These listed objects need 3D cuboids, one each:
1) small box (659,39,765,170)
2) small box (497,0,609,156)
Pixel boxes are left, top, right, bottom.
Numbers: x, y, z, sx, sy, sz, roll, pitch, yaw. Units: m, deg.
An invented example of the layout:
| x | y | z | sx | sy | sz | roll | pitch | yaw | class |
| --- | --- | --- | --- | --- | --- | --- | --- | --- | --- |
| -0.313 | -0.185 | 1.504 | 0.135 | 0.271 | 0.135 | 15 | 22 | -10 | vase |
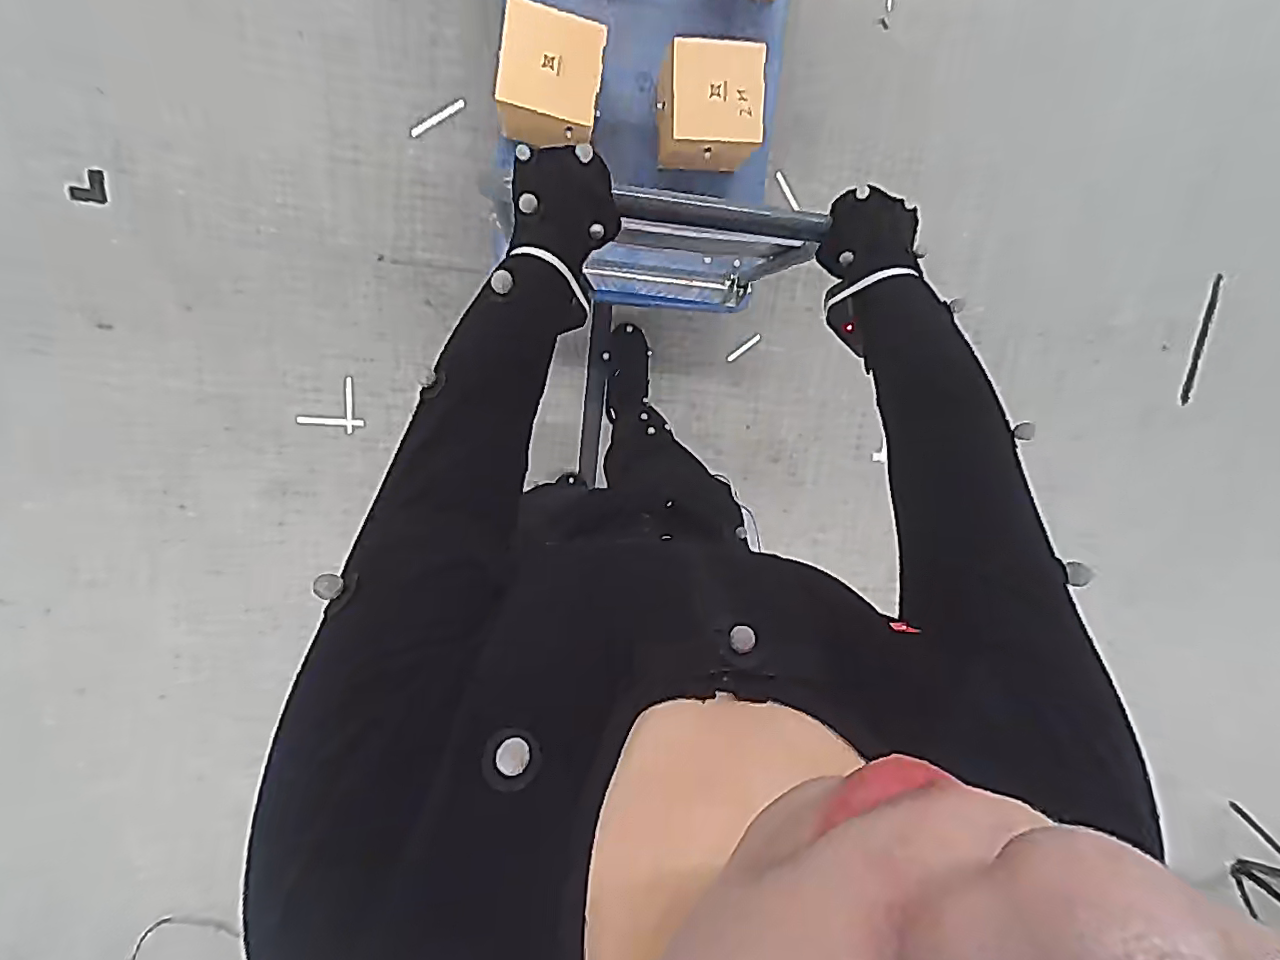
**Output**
| x | y | z | sx | sy | sz | roll | pitch | yaw | class |
| --- | --- | --- | --- | --- | --- | --- | --- | --- | --- |
| 0.134 | -0.736 | 1.078 | 0.179 | 0.176 | 0.168 | -3 | 104 | -8 | small box |
| -0.166 | -0.748 | 1.028 | 0.179 | 0.176 | 0.168 | 8 | 101 | -12 | small box |
